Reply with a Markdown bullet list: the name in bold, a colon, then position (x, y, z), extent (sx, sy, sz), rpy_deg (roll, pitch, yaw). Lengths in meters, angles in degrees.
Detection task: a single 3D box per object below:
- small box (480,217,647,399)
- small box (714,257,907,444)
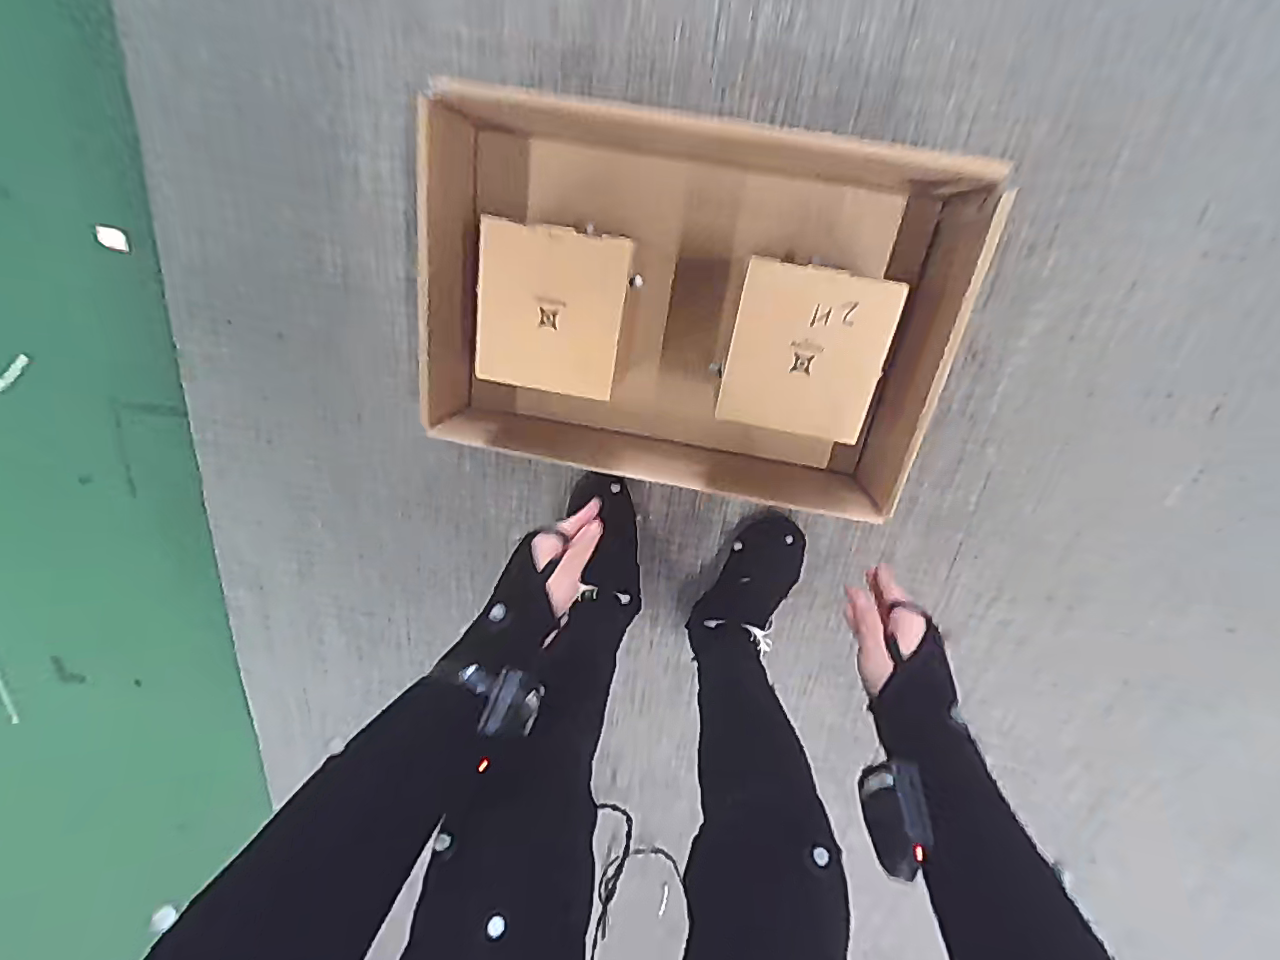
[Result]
- **small box**: position (-0.089, -0.217, 0.682), extent (0.168, 0.176, 0.179), rpy_deg (11, 111, 3)
- **small box**: position (0.192, -0.165, 0.662), extent (0.168, 0.176, 0.179), rpy_deg (12, 112, 3)
